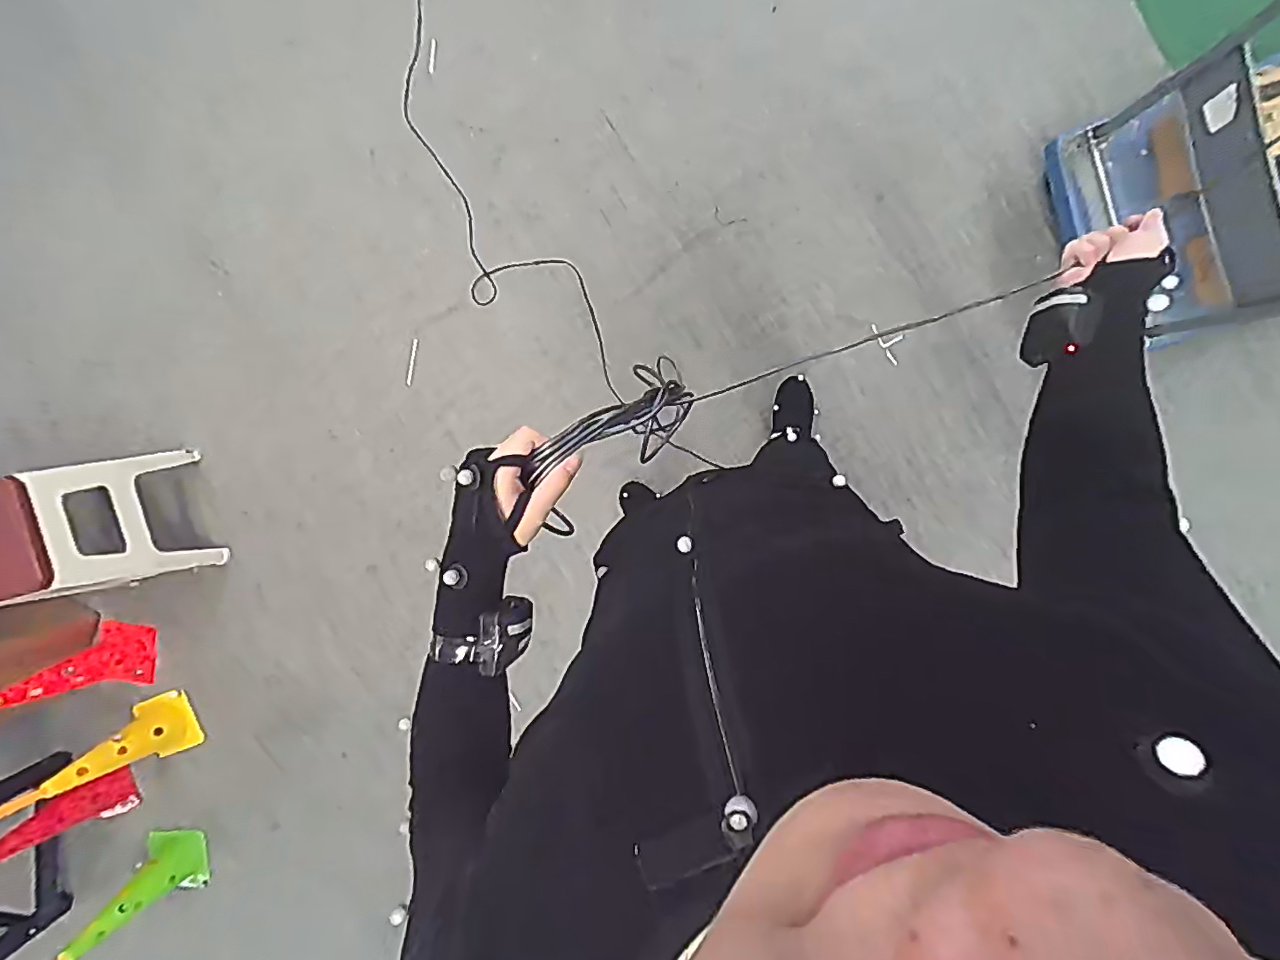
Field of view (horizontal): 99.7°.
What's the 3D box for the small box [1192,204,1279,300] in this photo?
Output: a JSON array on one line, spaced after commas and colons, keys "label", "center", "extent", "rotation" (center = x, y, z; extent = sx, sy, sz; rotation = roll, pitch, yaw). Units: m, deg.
[{"label": "small box", "center": [1.424, -0.525, 1.217], "extent": [0.179, 0.176, 0.168], "rotation": [-17, 93, 6]}]
